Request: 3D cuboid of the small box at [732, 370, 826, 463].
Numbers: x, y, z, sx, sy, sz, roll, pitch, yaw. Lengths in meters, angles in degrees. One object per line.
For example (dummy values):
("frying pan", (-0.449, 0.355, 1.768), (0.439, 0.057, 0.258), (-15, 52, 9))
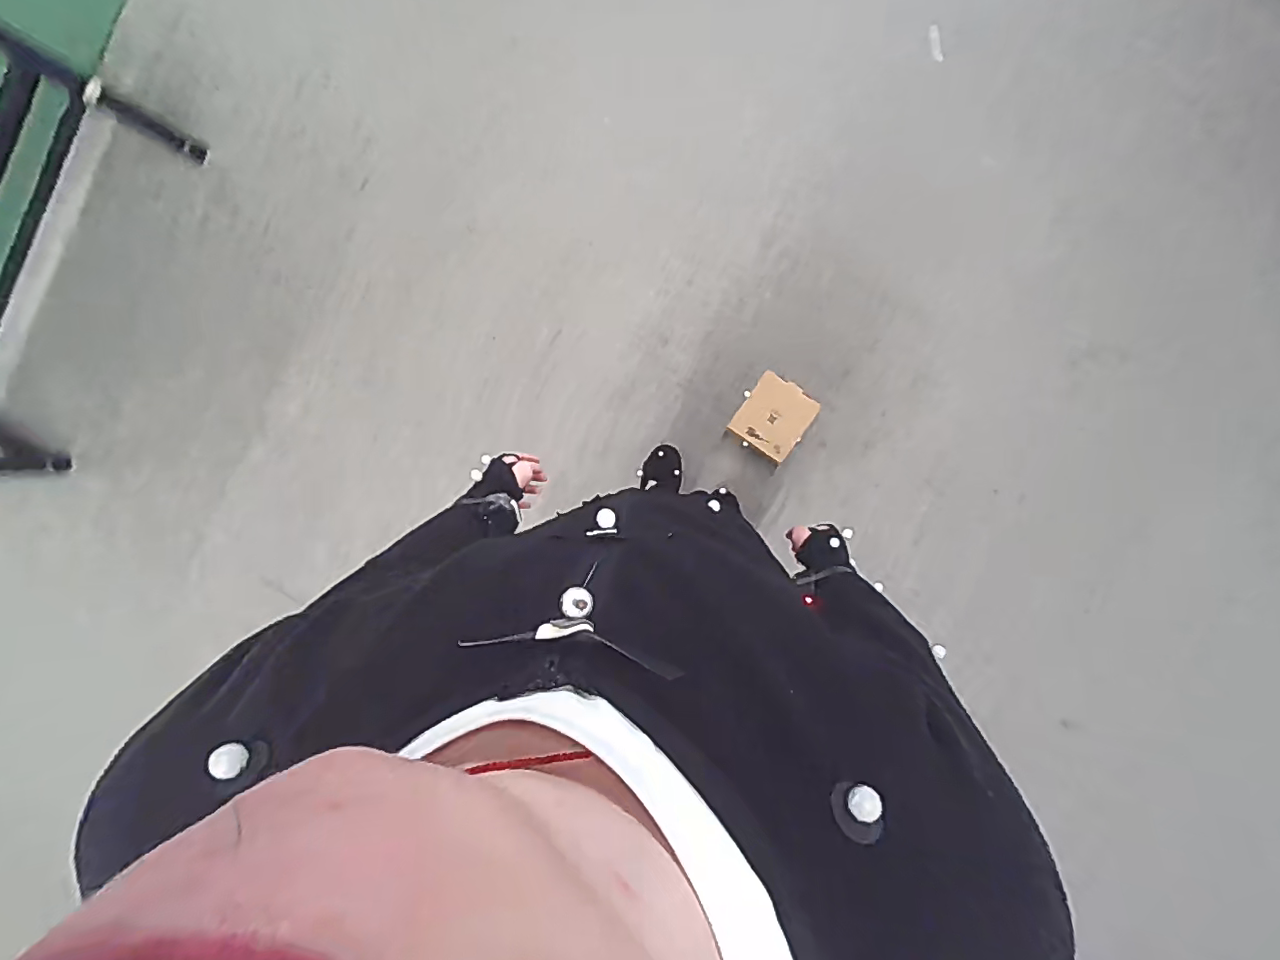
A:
("small box", (0.353, -0.161, 1.422), (0.168, 0.176, 0.179), (37, 96, 4))
